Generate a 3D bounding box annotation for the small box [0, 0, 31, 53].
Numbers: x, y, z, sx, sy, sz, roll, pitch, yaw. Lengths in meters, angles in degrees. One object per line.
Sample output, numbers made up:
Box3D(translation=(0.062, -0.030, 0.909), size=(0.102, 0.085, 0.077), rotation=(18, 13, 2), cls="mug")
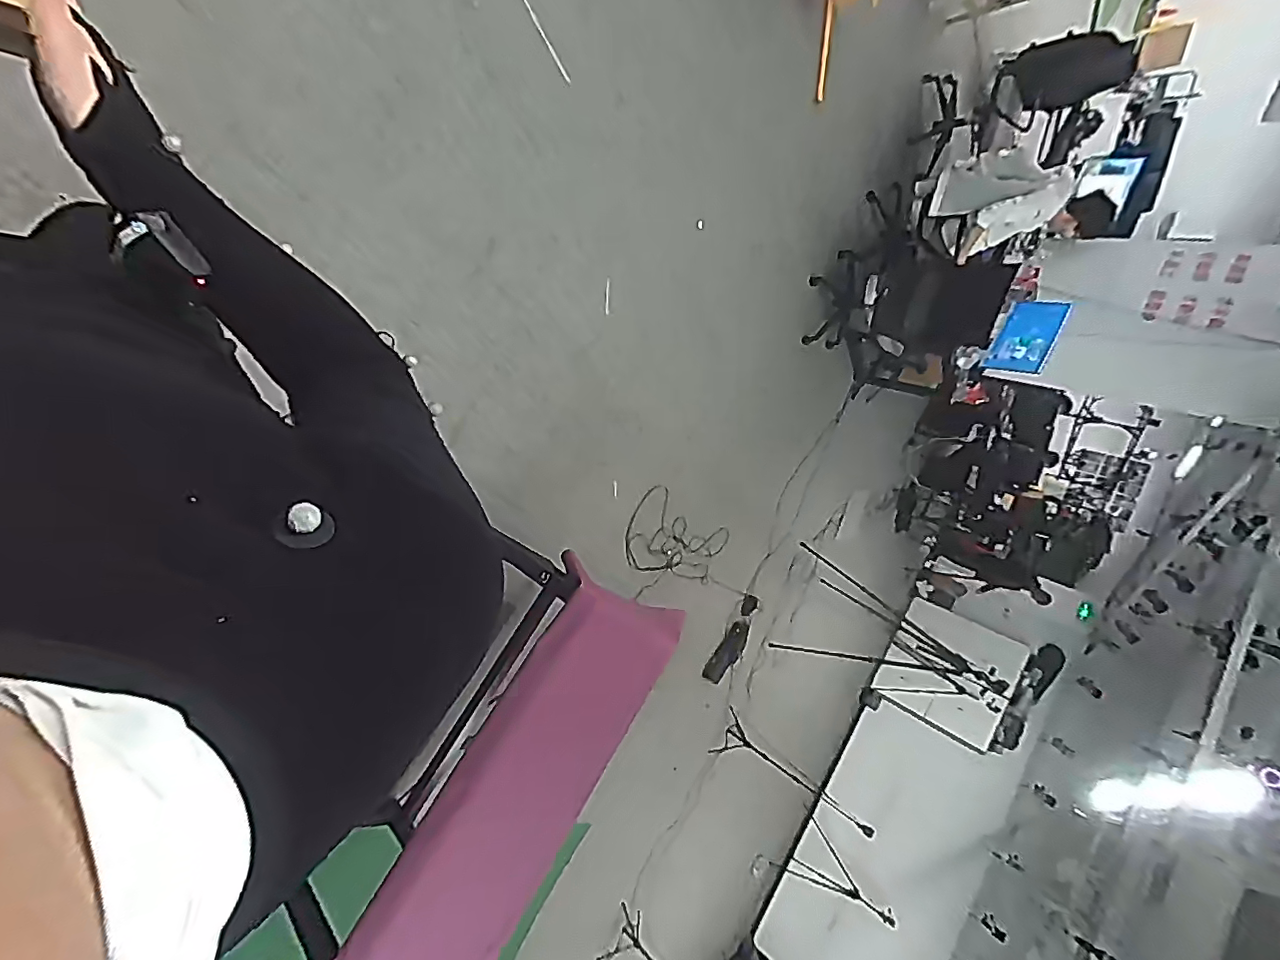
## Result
Box3D(translation=(-0.563, -0.440, 0.381), size=(0.168, 0.176, 0.179), rotation=(-9, 119, -46), cls="small box")
